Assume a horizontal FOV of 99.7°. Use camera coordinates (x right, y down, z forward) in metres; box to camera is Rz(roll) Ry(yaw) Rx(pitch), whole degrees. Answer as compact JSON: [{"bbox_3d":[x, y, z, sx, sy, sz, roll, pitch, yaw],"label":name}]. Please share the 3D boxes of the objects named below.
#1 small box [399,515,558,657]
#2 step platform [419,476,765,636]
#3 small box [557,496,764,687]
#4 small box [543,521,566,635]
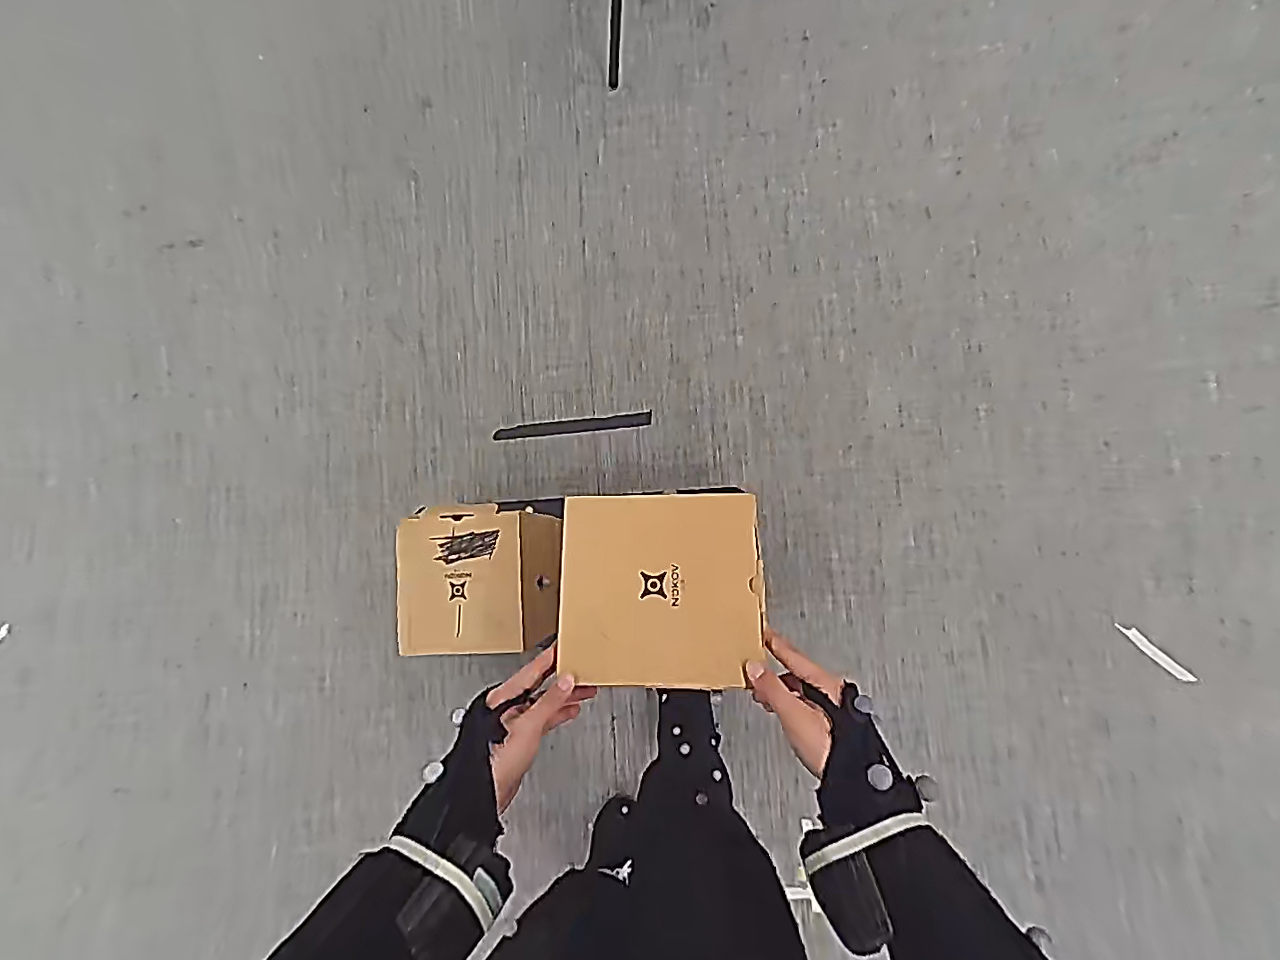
[{"bbox_3d":[-0.216,0.143,0.761,0.168,0.176,0.179,-3,84,6],"label":"small box"},{"bbox_3d":[-0.098,0.158,1.088,0.684,0.204,0.286,-5,83,6],"label":"step platform"},{"bbox_3d":[0.024,0.120,0.548,0.179,0.176,0.168,-1,71,5],"label":"small box"},{"bbox_3d":[-0.197,0.163,0.923,0.168,0.176,0.179,-3,84,6],"label":"small box"}]
